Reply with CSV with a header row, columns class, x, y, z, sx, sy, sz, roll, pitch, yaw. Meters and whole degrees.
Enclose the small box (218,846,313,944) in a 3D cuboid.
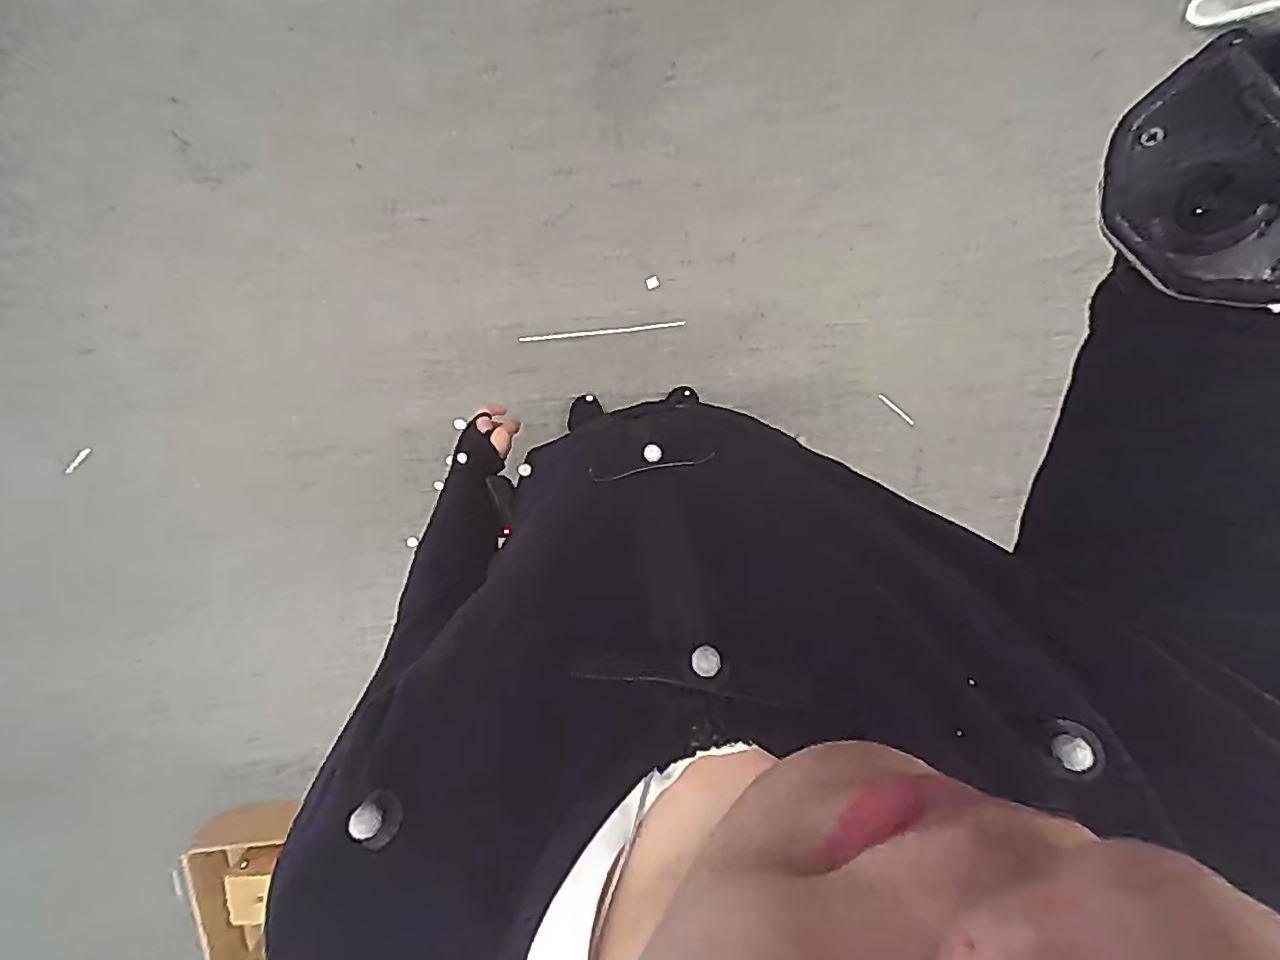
class,x,y,z,sx,sy,sz,roll,pitch,yaw
small box,-1.109,1.234,1.618,0.179,0.176,0.168,-1,98,-2
